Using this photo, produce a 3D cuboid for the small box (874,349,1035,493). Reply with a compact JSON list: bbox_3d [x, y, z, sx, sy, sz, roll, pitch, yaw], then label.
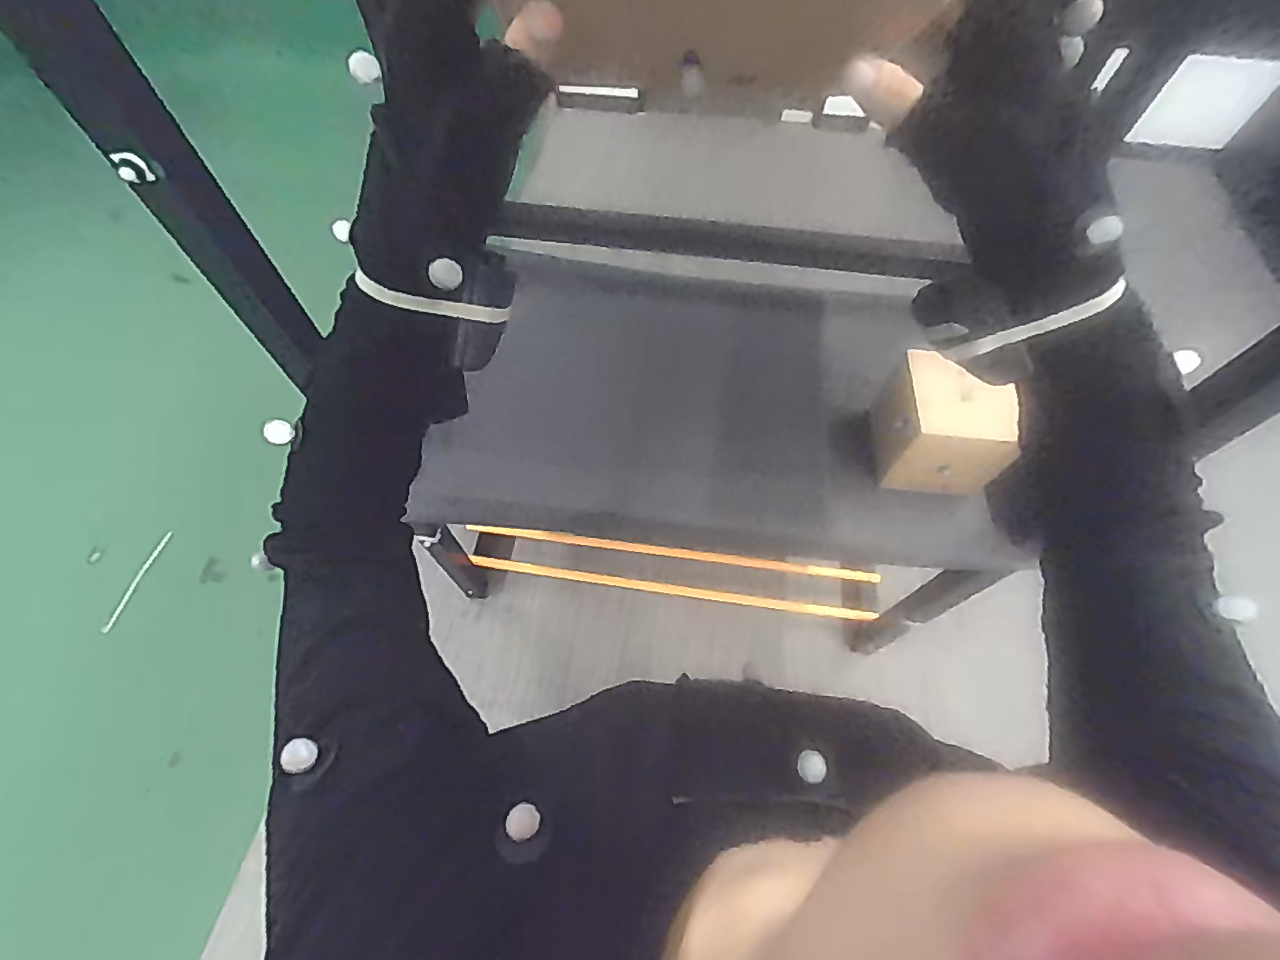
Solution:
[{"bbox_3d":[0.514,-0.094,0.915,0.168,0.176,0.179,6,59,3],"label":"small box"}]
